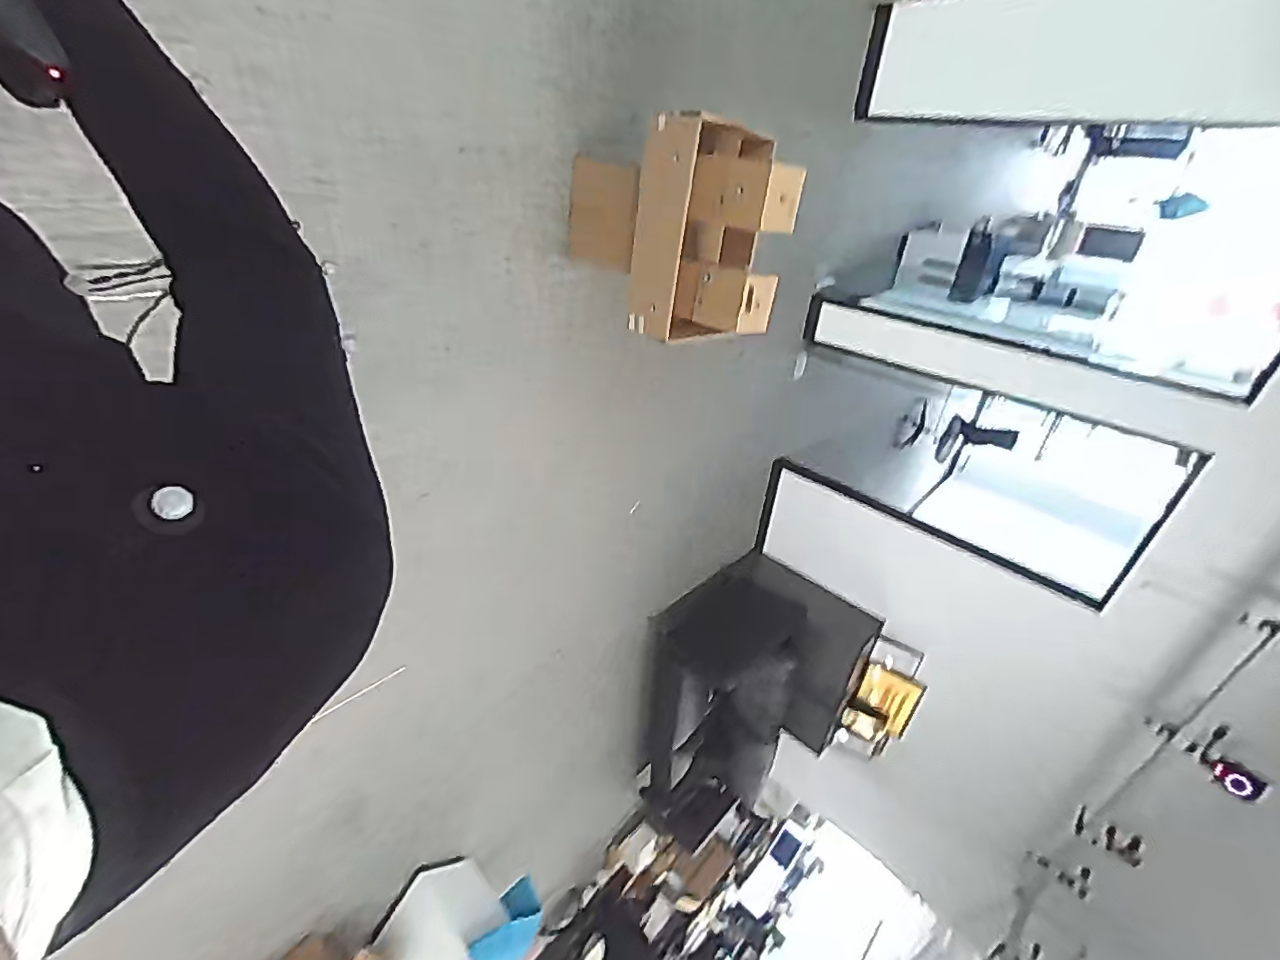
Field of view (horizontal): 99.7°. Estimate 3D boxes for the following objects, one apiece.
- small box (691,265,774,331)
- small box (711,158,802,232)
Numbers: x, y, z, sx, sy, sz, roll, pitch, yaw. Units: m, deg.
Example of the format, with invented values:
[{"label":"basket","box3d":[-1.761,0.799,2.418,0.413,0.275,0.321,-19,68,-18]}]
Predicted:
[{"label":"small box","box3d":[0.279,-0.558,1.659,0.179,0.176,0.168,-19,128,-45]},{"label":"small box","box3d":[0.324,-0.808,1.532,0.179,0.176,0.168,-21,130,-41]}]
